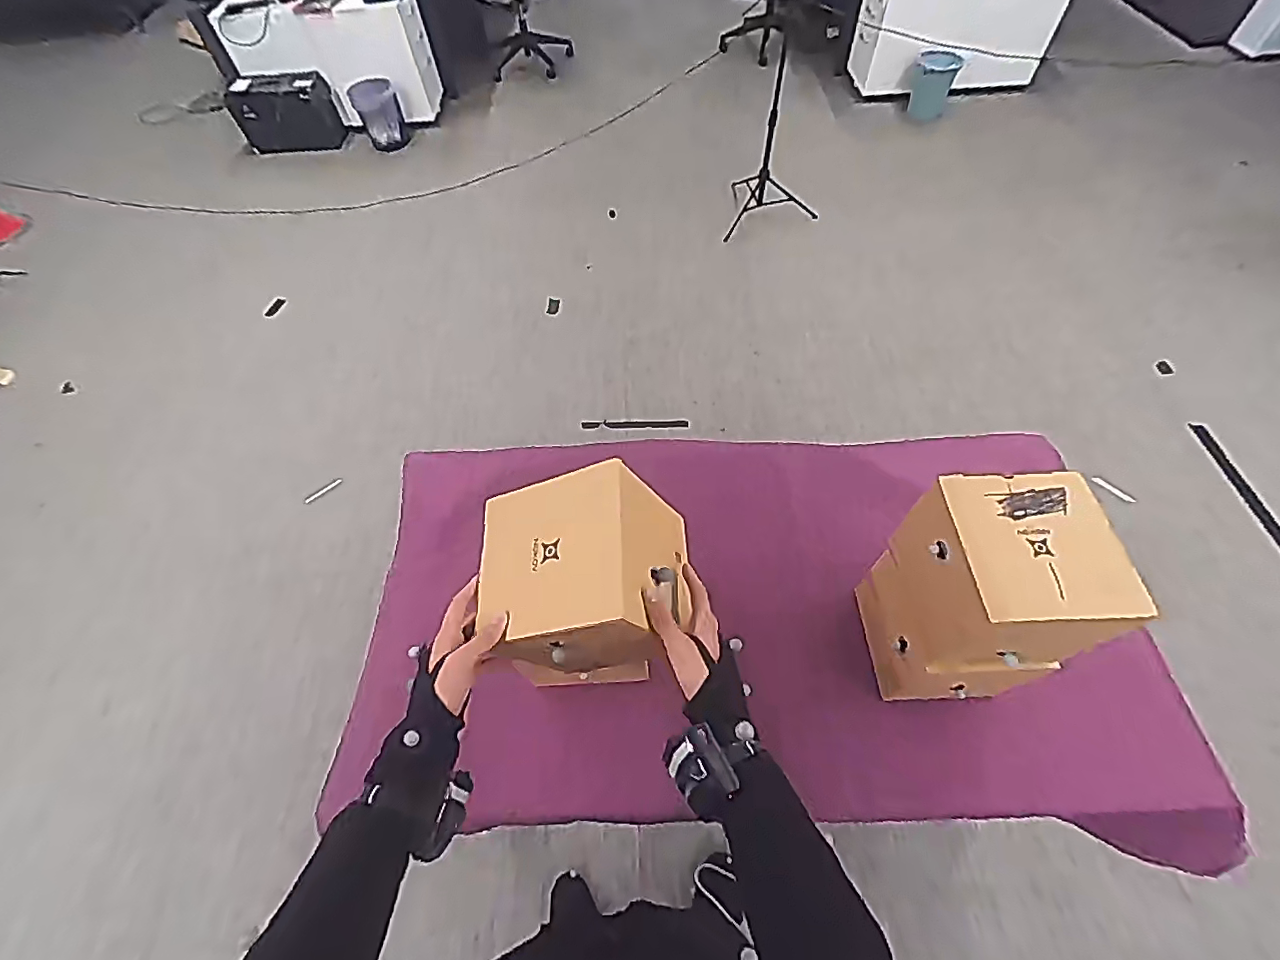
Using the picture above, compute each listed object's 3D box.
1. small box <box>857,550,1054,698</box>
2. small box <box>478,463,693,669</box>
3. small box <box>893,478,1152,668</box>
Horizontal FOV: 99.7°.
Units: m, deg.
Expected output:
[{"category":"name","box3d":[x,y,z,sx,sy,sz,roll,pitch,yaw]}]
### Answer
[{"category":"small box","box3d":[0.434,0.212,0.781,0.168,0.176,0.179,-2,57,1]},{"category":"small box","box3d":[-0.050,0.107,0.602,0.179,0.176,0.168,-18,57,24]},{"category":"small box","box3d":[0.429,0.115,0.649,0.168,0.176,0.179,-2,58,2]}]
